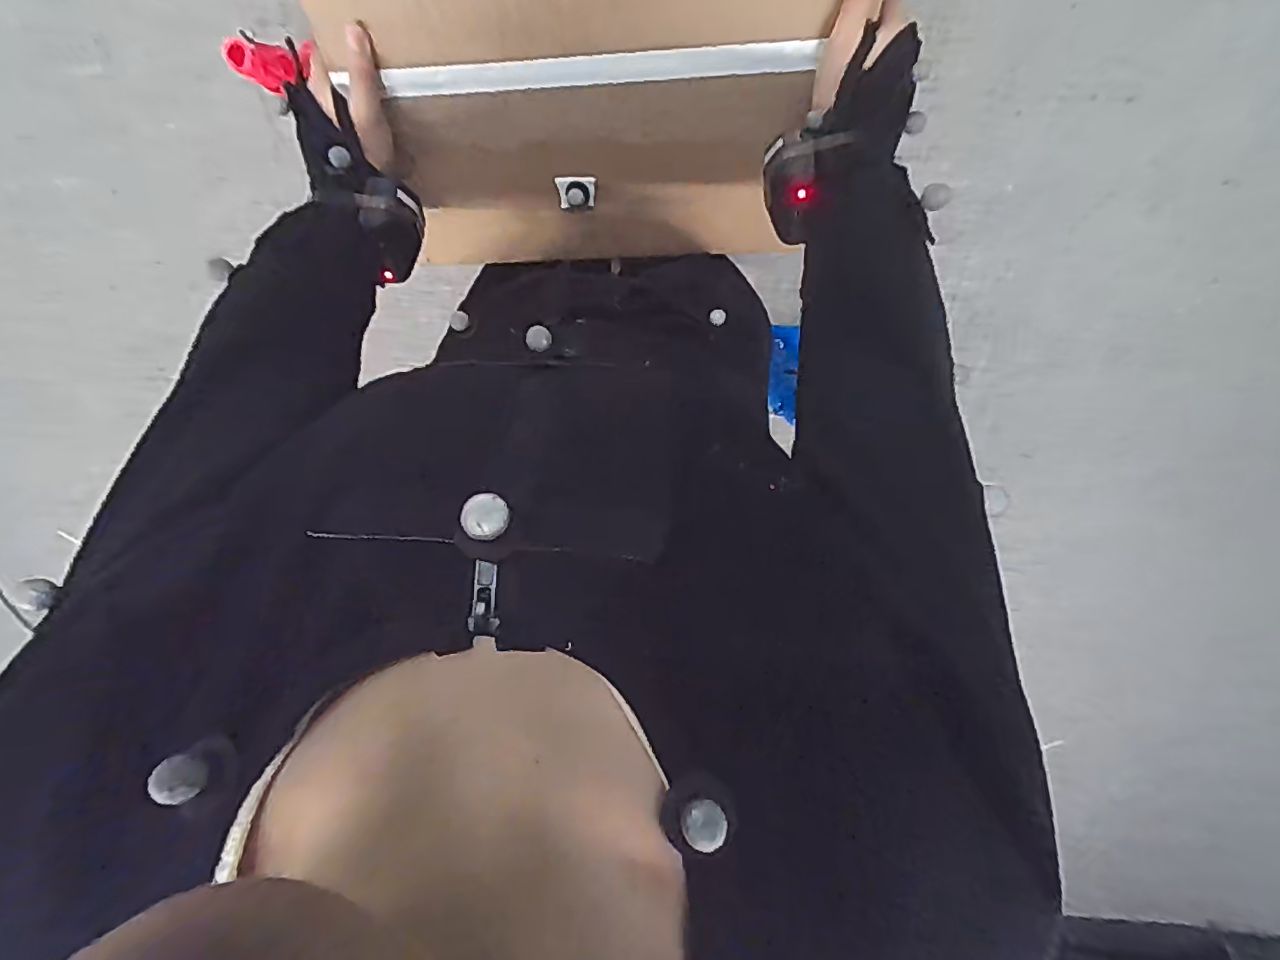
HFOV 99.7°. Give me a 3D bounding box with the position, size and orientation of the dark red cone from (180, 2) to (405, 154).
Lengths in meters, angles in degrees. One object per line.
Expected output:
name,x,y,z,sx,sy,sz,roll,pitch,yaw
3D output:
dark red cone,-0.572,-0.685,0.890,0.202,0.394,0.201,-3,113,5
